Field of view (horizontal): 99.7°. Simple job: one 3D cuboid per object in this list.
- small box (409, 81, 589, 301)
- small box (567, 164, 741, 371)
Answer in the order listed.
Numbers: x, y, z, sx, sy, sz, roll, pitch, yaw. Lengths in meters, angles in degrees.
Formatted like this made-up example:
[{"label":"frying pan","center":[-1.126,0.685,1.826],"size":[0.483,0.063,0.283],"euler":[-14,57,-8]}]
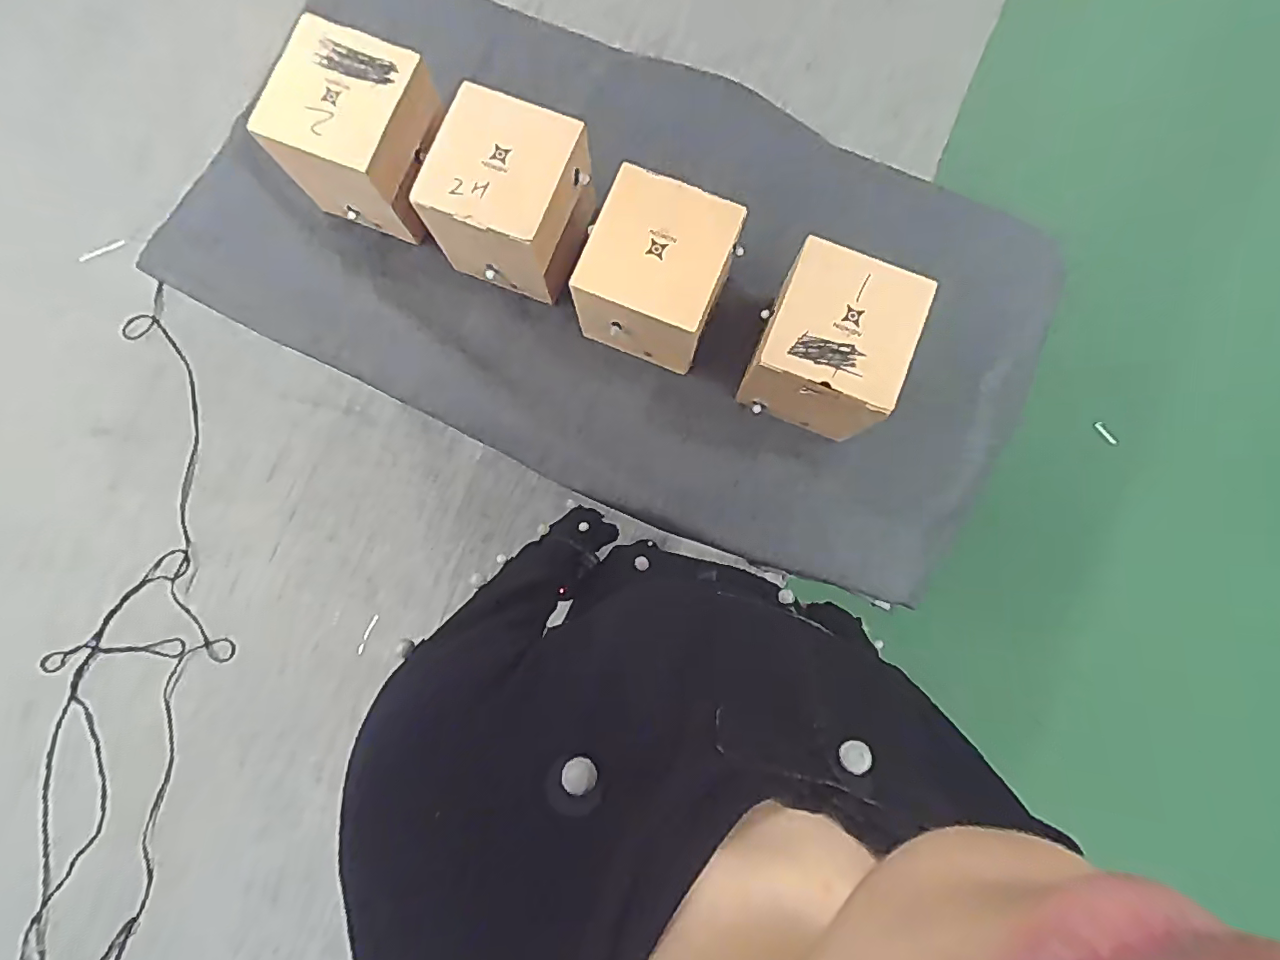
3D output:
[{"label":"small box","center":[-0.176,-0.381,0.741],"size":[0.168,0.176,0.179],"euler":[21,83,3]},{"label":"small box","center":[0.019,-0.271,0.730],"size":[0.168,0.176,0.179],"euler":[22,83,3]}]
